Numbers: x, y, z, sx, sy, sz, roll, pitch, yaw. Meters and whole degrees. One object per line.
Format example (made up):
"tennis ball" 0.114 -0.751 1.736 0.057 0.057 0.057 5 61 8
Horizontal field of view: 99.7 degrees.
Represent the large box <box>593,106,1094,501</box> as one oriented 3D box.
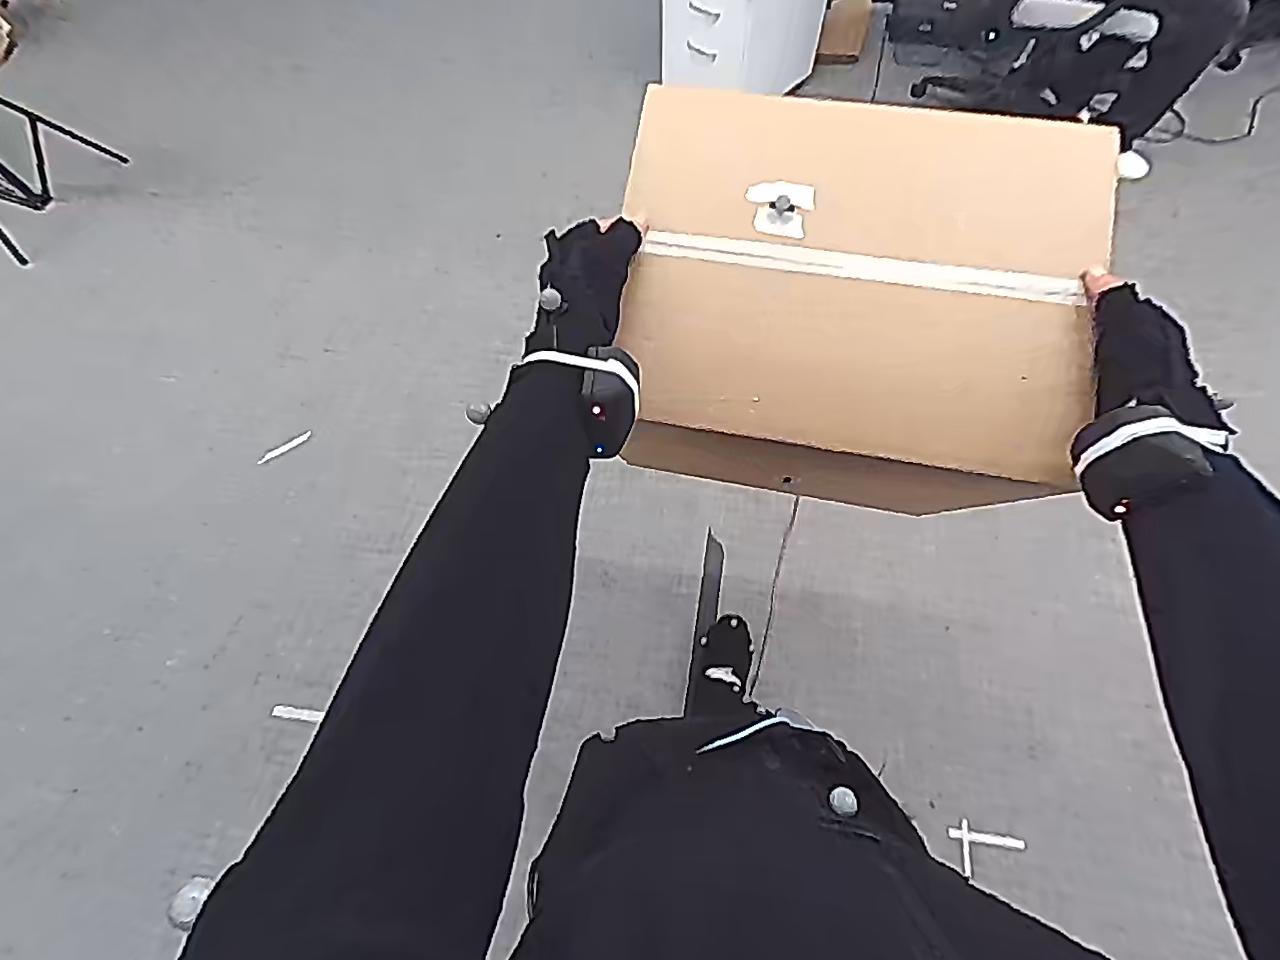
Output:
"large box" 0.194 -0.164 0.626 0.408 0.320 0.320 10 83 8
